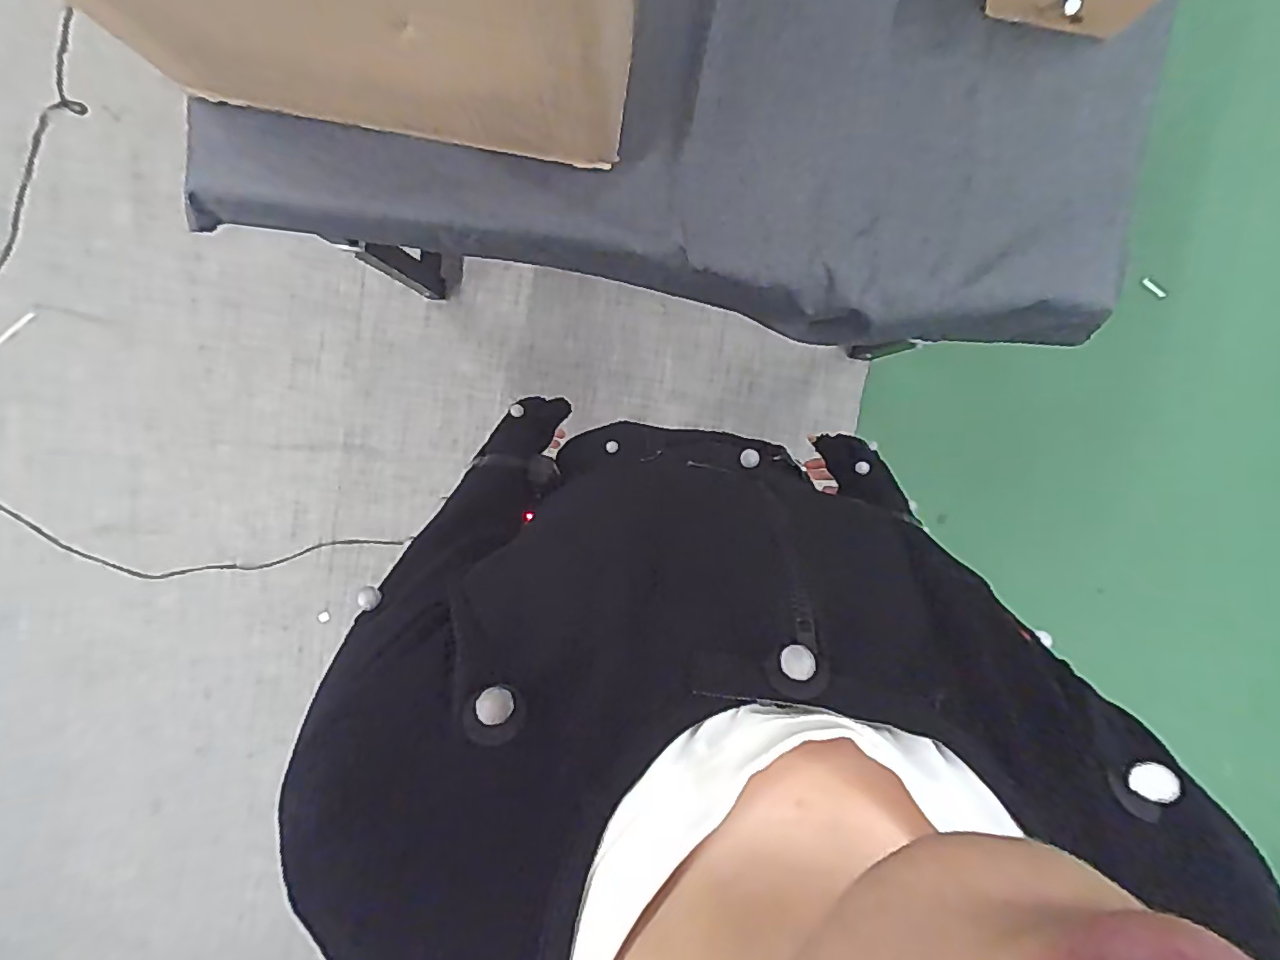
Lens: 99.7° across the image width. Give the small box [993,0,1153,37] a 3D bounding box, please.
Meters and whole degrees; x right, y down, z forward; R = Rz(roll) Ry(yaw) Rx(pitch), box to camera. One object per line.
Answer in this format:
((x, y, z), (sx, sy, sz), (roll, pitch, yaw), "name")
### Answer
((0.525, -0.643, 0.586), (0.168, 0.176, 0.179), (10, 97, -1), "small box")
